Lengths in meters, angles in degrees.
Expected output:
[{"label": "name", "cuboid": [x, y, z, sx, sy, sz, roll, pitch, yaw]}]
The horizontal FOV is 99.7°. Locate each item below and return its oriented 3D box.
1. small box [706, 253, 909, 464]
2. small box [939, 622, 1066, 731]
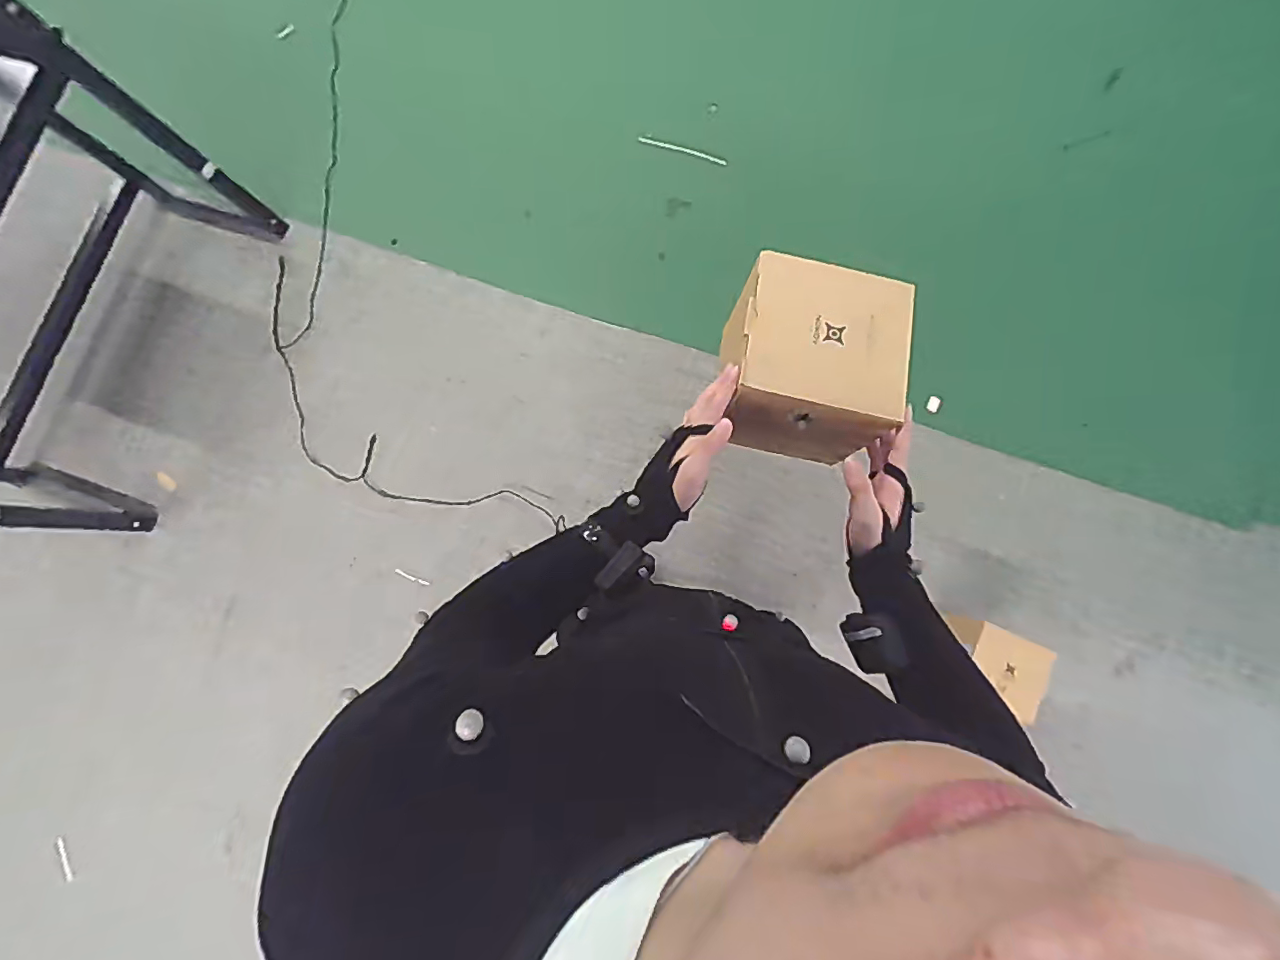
[{"label": "small box", "cuboid": [0.185, -0.130, 0.637, 0.179, 0.176, 0.168, 12, 75, -2]}, {"label": "small box", "cuboid": [0.846, 0.453, 1.281, 0.168, 0.176, 0.179, 24, 85, 9]}]
